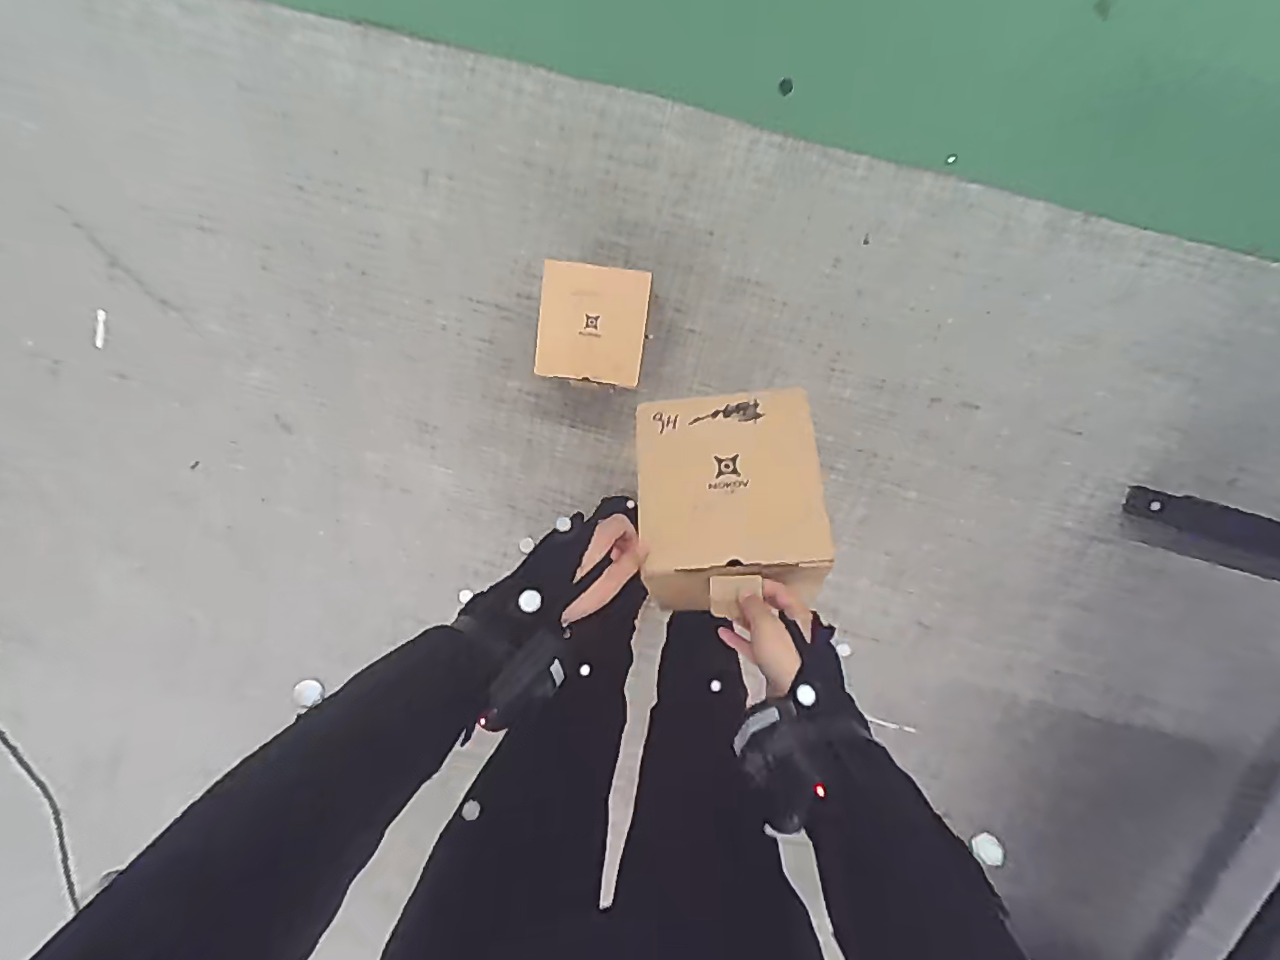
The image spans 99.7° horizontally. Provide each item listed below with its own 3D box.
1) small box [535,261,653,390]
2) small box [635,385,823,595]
[{"bbox_3d":[-0.070,-0.251,0.906,0.168,0.176,0.179,7,101,1],"label":"small box"},{"bbox_3d":[0.090,0.023,0.573,0.168,0.176,0.179,-4,66,8],"label":"small box"}]
